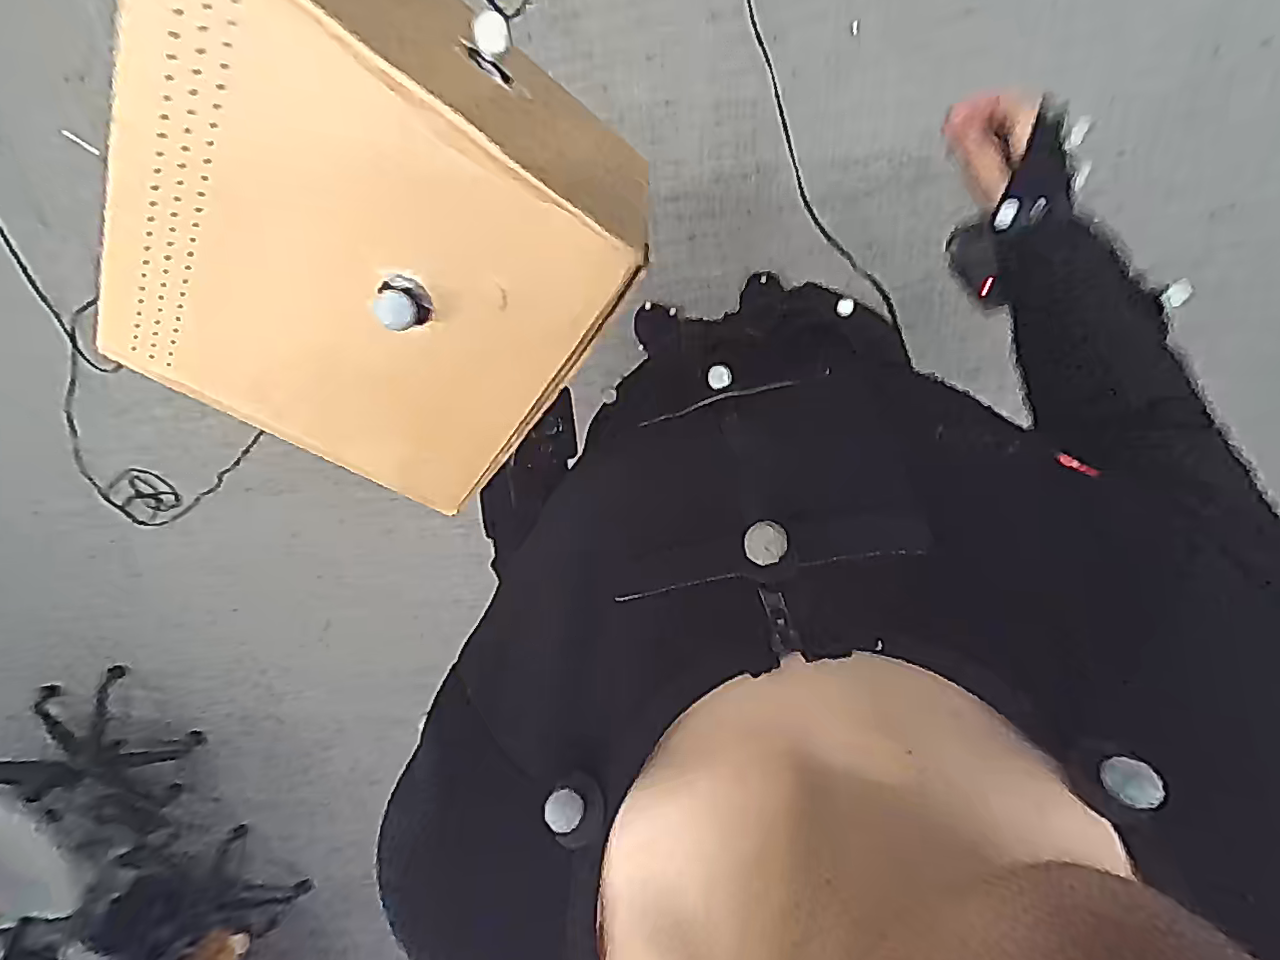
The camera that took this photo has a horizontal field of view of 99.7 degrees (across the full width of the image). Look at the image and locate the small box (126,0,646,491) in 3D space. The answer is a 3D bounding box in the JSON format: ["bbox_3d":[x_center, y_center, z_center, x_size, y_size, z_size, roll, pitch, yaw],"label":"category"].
[{"bbox_3d":[-0.113,-0.132,0.281,0.176,0.168,0.179,30,126,-22],"label":"small box"}]
